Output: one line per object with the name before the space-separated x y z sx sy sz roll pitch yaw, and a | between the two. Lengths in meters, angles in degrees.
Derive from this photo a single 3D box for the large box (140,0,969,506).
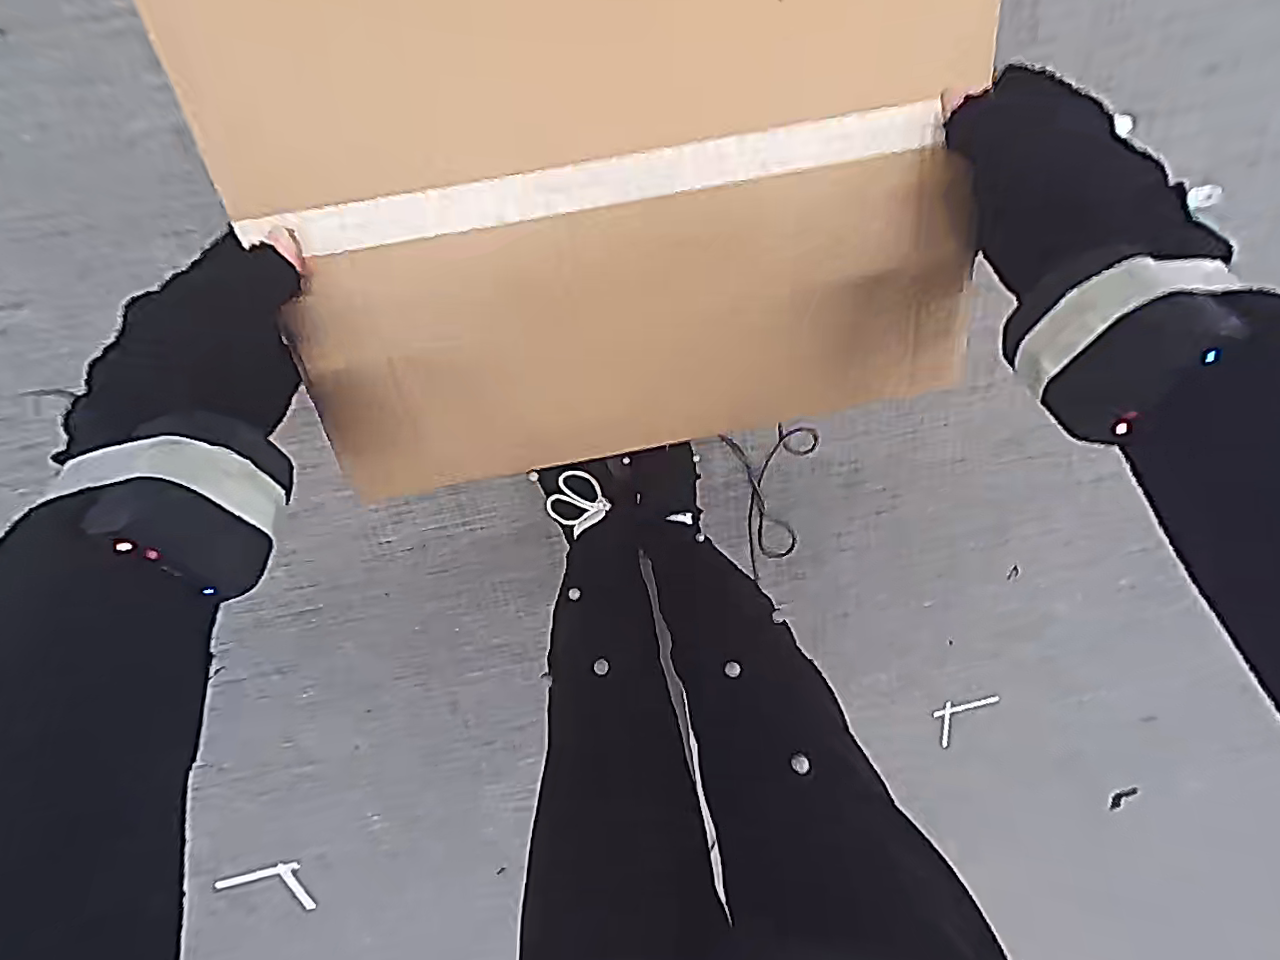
large box | -0.030 -0.222 0.436 0.408 0.320 0.320 -12 116 -2
